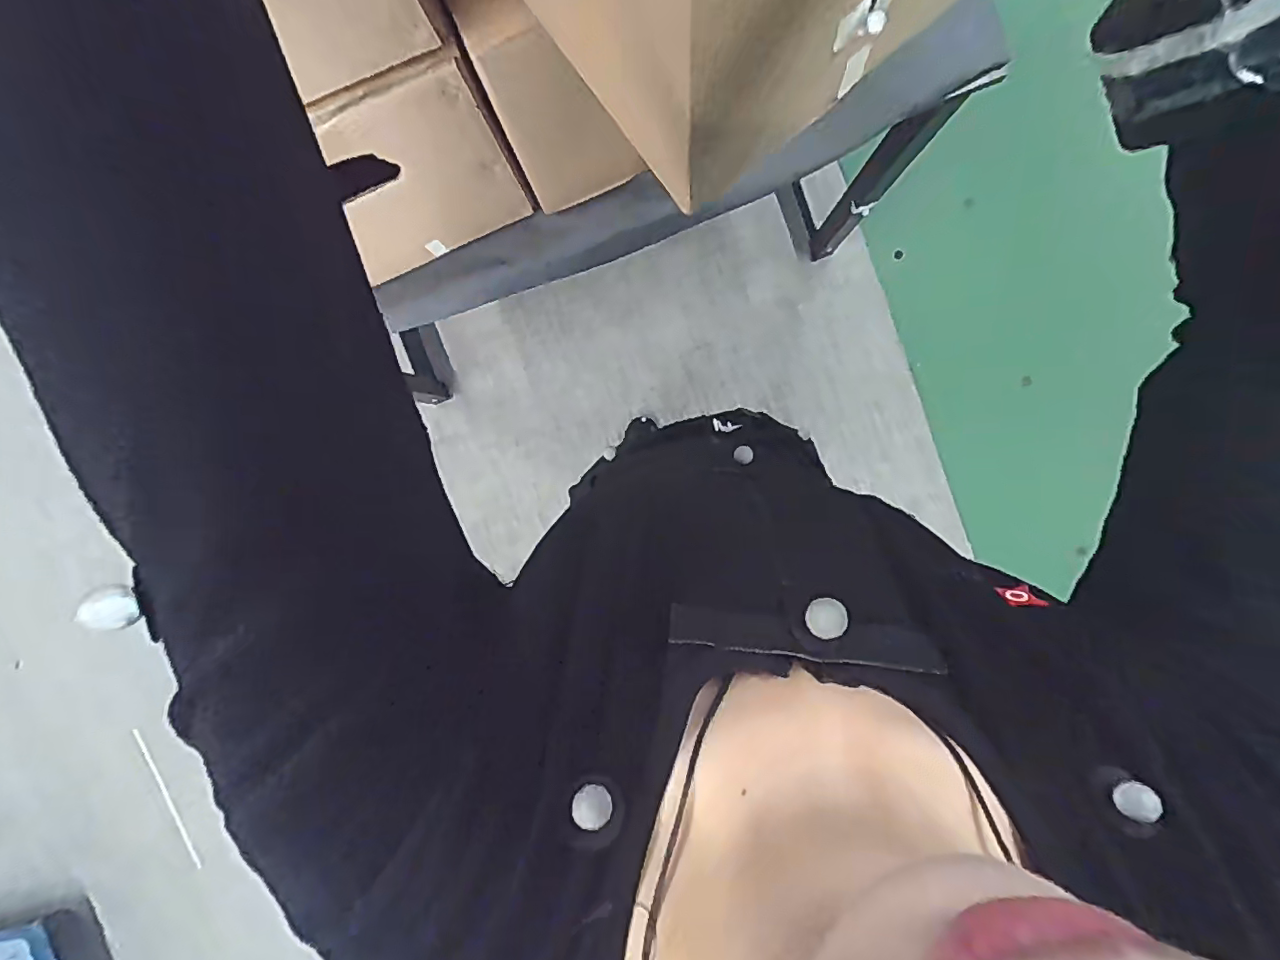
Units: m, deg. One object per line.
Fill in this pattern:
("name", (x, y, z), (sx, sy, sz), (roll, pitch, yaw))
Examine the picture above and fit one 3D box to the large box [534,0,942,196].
("large box", (0.030, -0.464, 0.284), (0.320, 0.320, 0.408), (-37, 87, 5))
